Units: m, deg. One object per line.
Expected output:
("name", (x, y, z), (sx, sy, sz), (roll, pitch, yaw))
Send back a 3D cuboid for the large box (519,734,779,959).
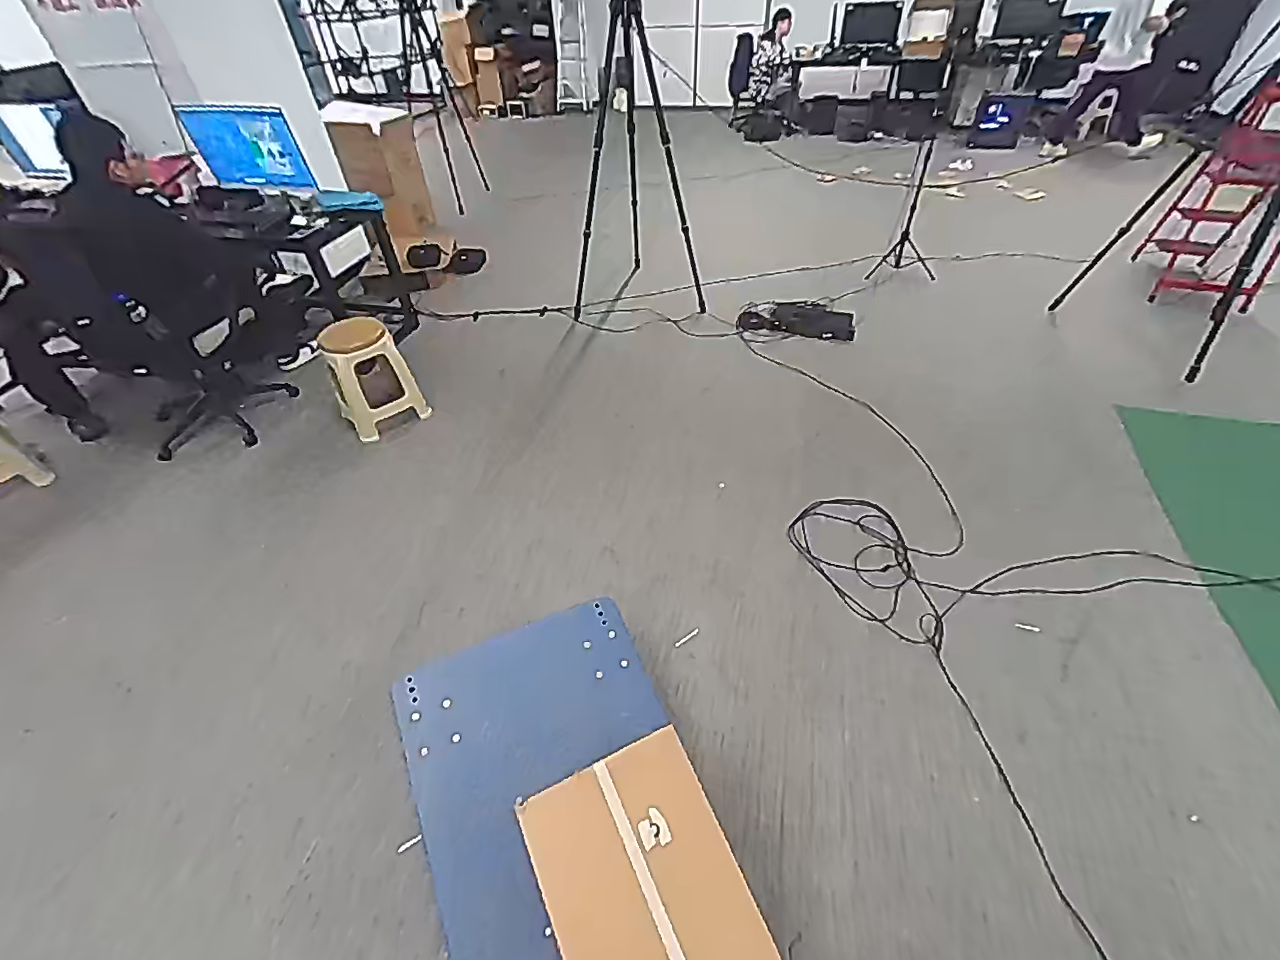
("large box", (-0.009, 0.770, 1.029), (0.320, 0.320, 0.408), (-18, 62, -21))
